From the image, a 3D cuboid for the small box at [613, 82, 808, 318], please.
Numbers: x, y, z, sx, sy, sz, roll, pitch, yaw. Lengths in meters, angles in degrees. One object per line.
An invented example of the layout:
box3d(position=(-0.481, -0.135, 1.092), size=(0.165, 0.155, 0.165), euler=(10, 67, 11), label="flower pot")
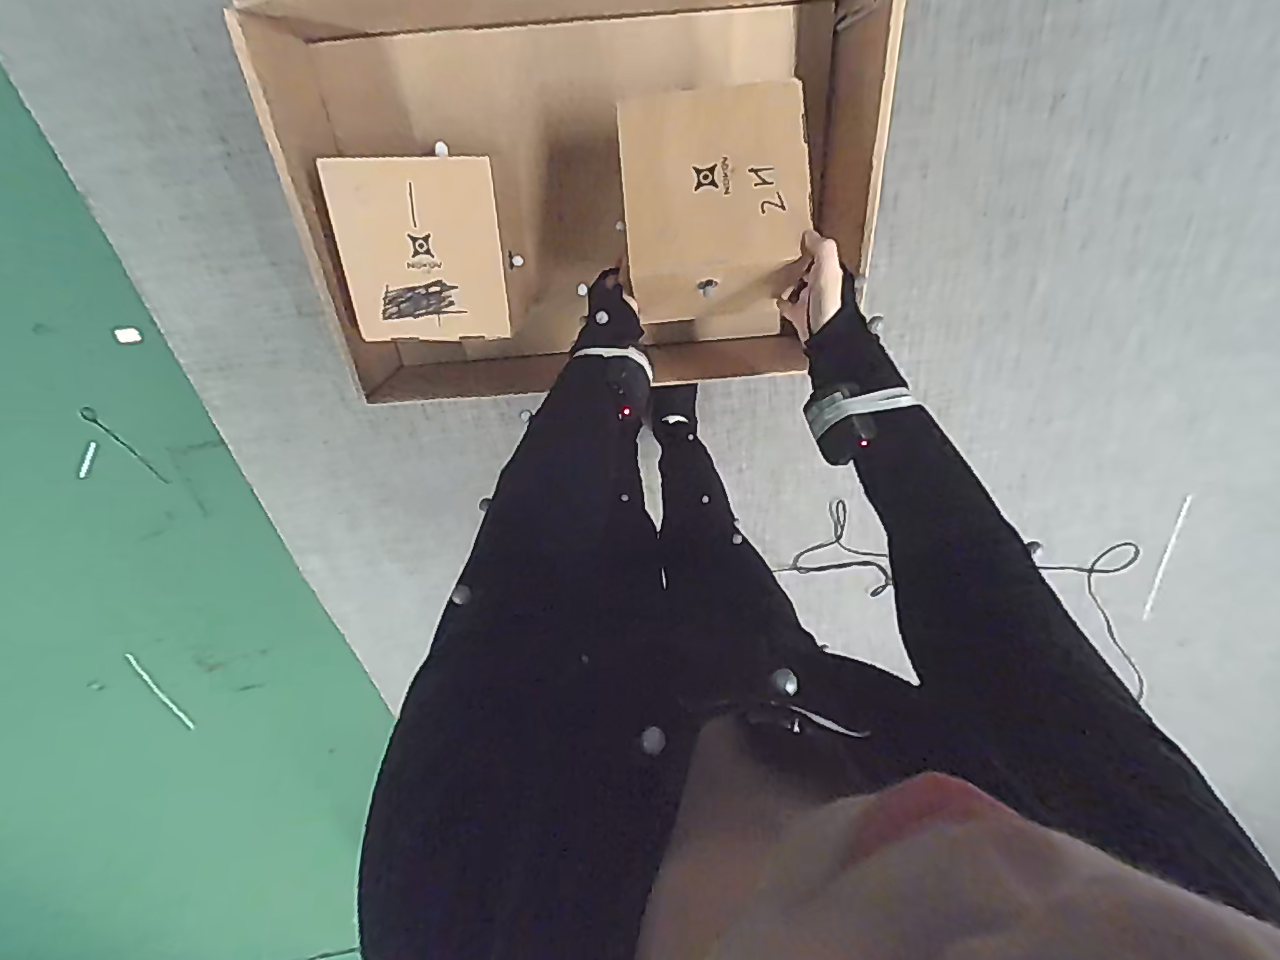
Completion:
box3d(position=(0.072, -0.284, 0.588), size=(0.179, 0.176, 0.168), euler=(-4, 91, 4), label="small box")
